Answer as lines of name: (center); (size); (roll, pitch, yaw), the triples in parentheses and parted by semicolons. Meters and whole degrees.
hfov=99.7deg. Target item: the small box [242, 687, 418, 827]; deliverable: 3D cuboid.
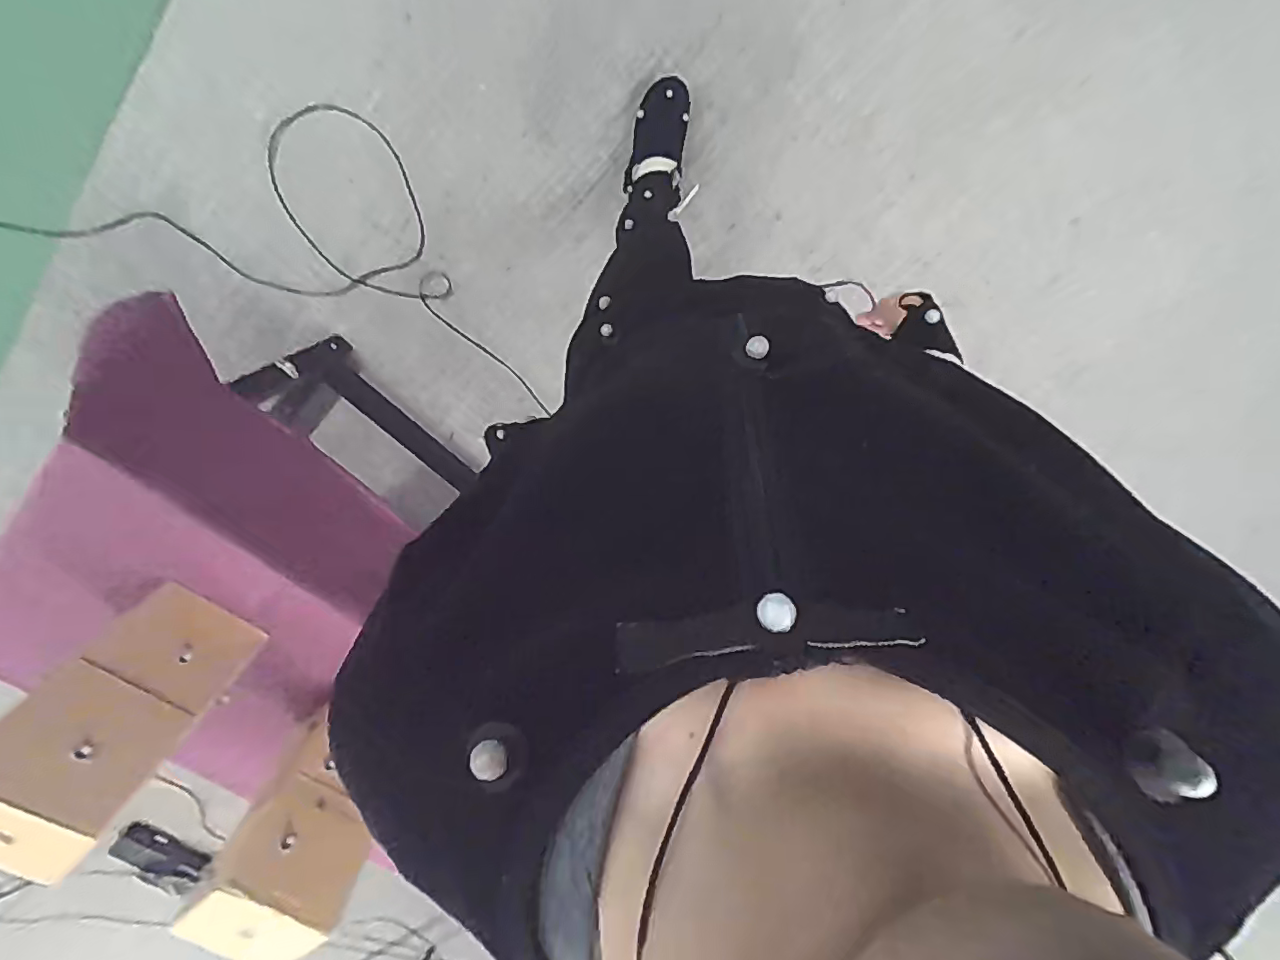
small box: (-0.533, 0.506, 0.957); (0.168, 0.176, 0.179); (-38, 109, 20)

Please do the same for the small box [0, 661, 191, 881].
small box: (-0.753, 0.364, 0.699); (0.168, 0.176, 0.179); (-41, 110, 21)

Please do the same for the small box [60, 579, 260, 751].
small box: (-0.752, 0.289, 0.846); (0.179, 0.176, 0.168); (41, 111, -18)

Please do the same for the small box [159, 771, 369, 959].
small box: (-0.543, 0.576, 0.810); (0.179, 0.176, 0.168); (-40, 108, 21)
